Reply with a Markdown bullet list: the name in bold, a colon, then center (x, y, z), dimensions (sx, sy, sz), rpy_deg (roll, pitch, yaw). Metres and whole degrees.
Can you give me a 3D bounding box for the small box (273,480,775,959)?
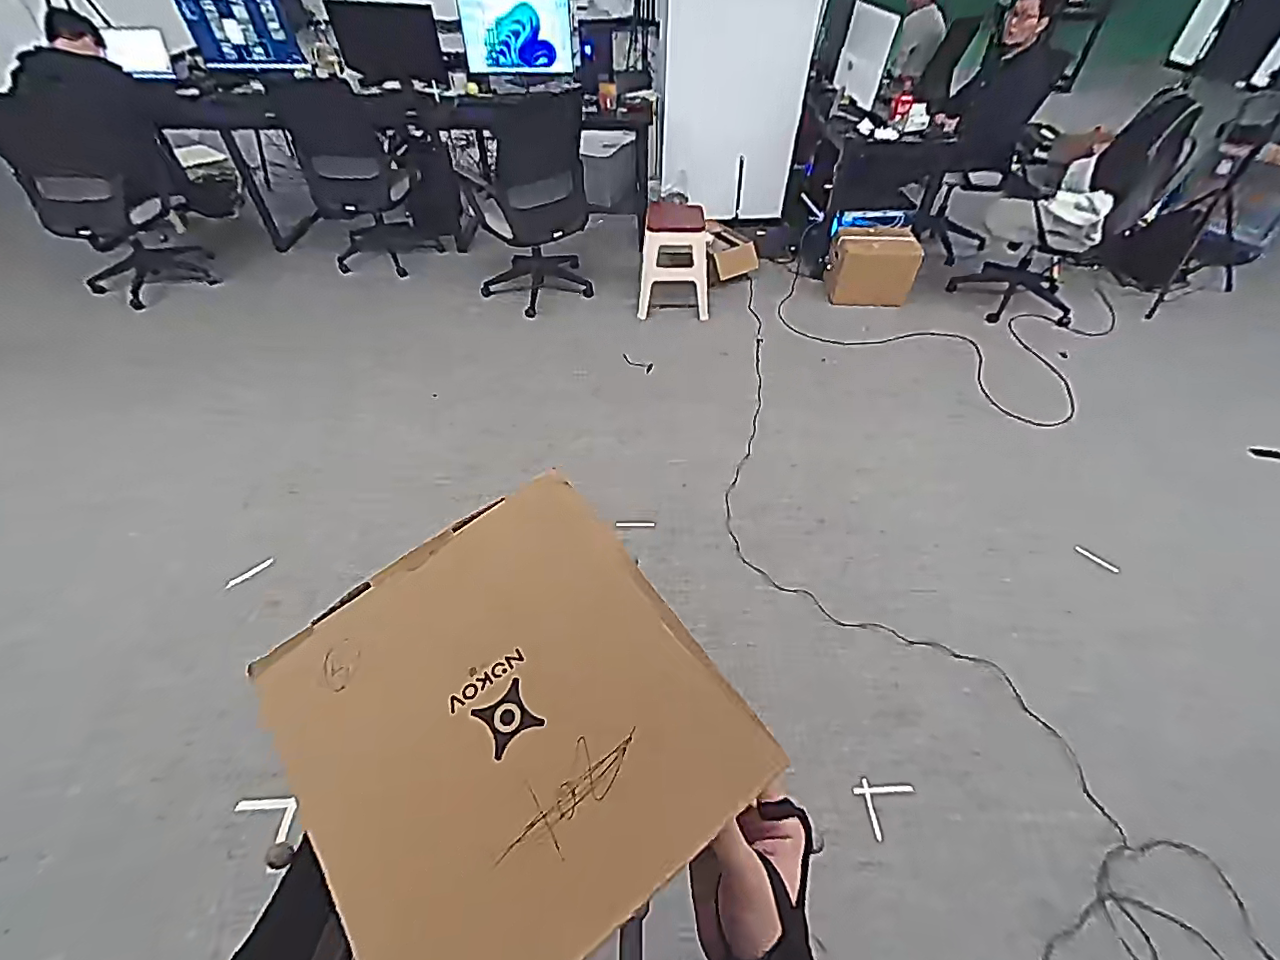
- **small box**: center (-0.054, 0.139, 0.310), dimensions (0.168, 0.176, 0.179), rpy_deg (-36, 66, -15)
